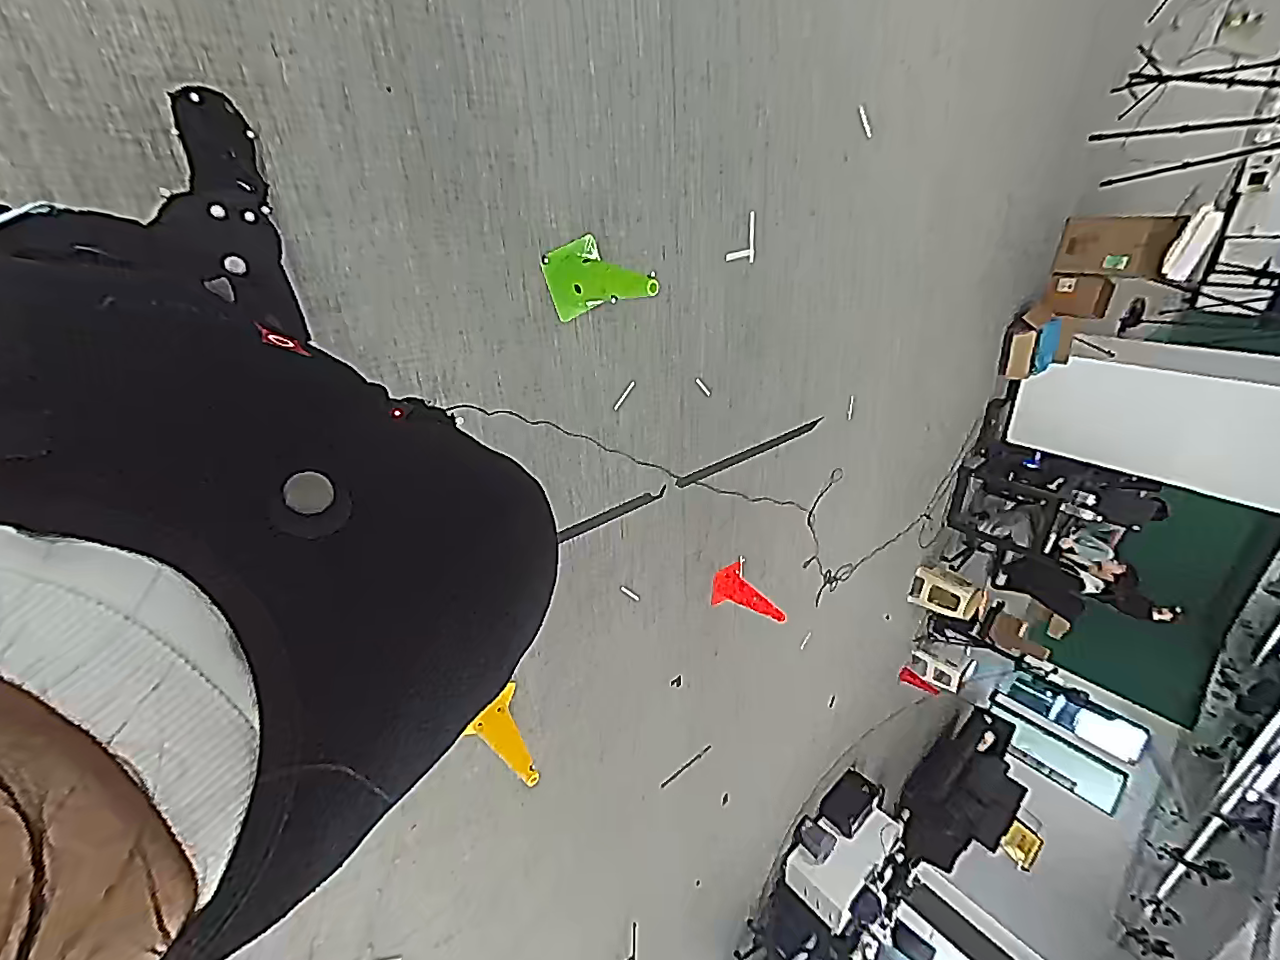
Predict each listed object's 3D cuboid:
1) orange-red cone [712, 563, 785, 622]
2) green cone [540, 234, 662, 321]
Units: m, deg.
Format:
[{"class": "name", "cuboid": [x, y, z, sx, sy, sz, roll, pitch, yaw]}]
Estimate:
[{"class": "orange-red cone", "cuboid": [0.540, 0.575, 2.589, 0.199, 0.360, 0.198, -15, 118, -36]}, {"class": "green cone", "cuboid": [-0.080, -0.544, 1.487, 0.202, 0.368, 0.200, -39, 132, -25]}]
